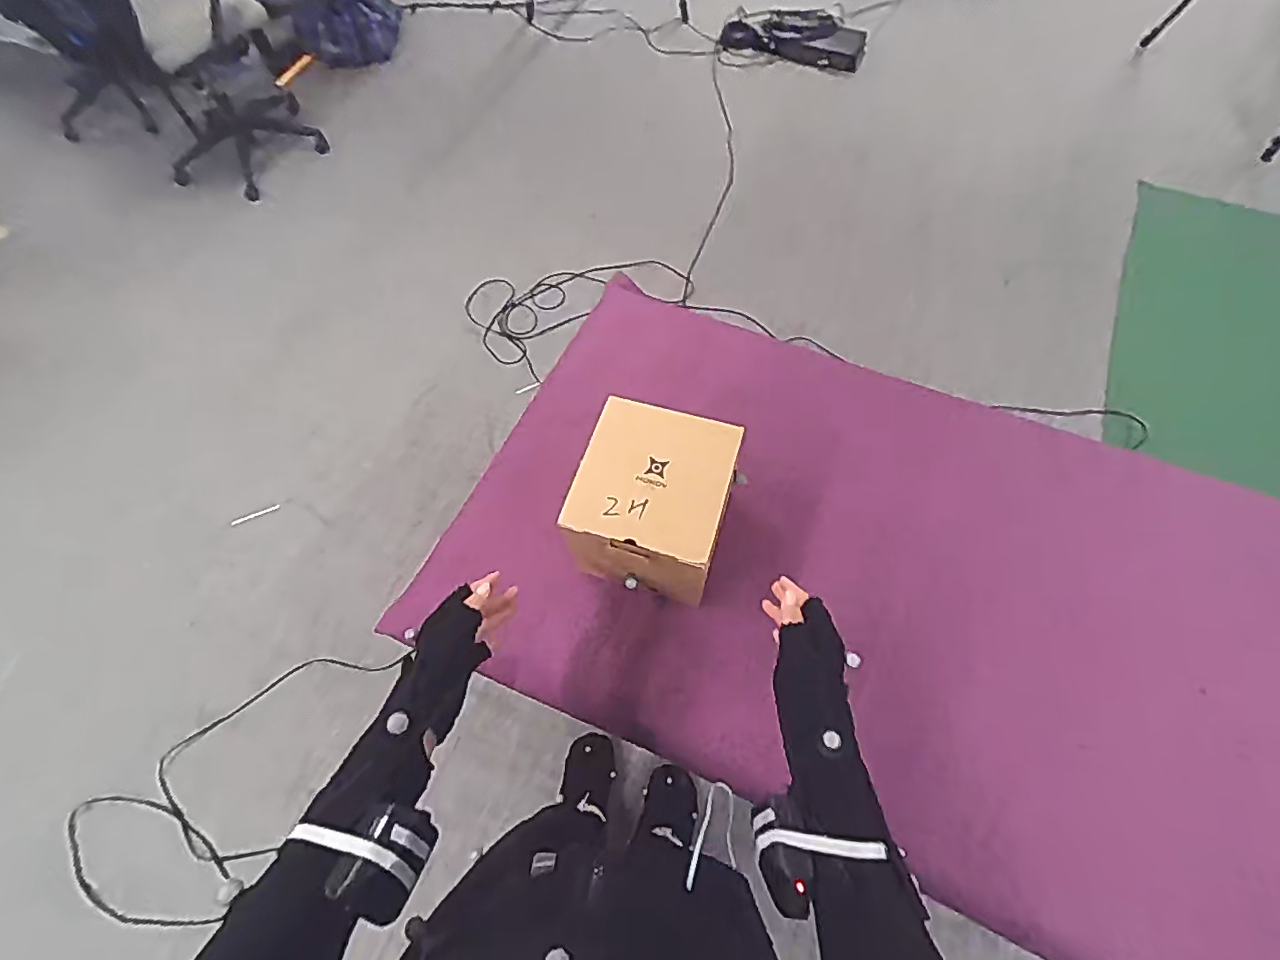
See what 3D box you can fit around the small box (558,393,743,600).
[{"bbox_3d":[0.018,0.026,0.665,0.168,0.176,0.179,15,66,11],"label":"small box"}]
